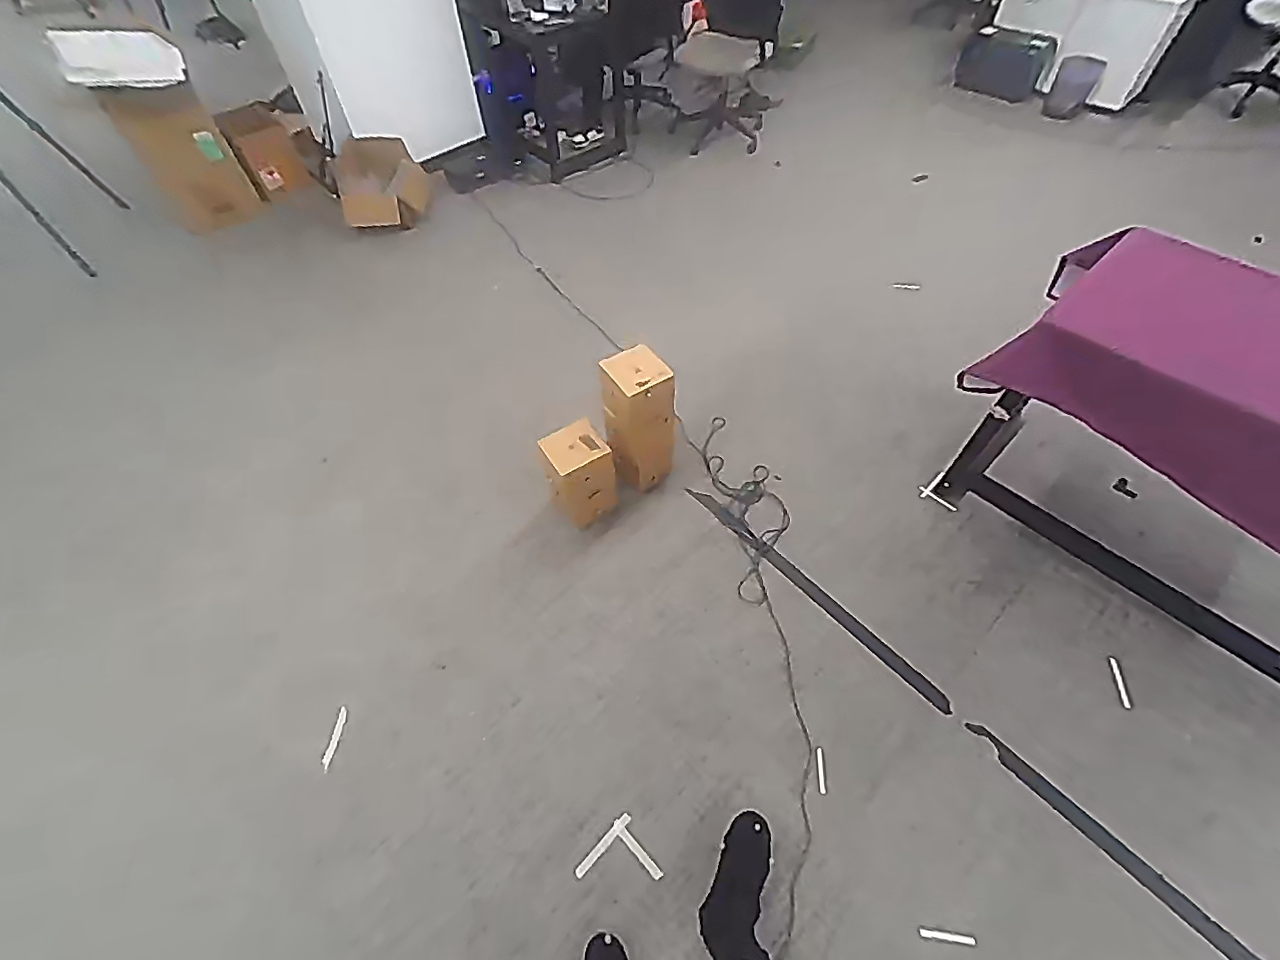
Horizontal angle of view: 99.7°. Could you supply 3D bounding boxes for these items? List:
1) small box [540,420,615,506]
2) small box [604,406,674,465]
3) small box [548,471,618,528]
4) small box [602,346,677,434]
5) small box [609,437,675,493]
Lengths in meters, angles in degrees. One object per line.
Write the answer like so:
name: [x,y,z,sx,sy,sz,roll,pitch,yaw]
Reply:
small box: [-0.192,-0.052,1.711,0.179,0.176,0.168,-28,58,-17]
small box: [0.004,-0.182,1.805,0.179,0.176,0.168,-35,60,-21]
small box: [-0.192,0.031,1.854,0.168,0.176,0.179,-32,60,-19]
small box: [-0.002,-0.276,1.670,0.168,0.176,0.179,-28,57,-17]
small box: [0.007,-0.087,1.937,0.168,0.176,0.179,-36,61,-21]
